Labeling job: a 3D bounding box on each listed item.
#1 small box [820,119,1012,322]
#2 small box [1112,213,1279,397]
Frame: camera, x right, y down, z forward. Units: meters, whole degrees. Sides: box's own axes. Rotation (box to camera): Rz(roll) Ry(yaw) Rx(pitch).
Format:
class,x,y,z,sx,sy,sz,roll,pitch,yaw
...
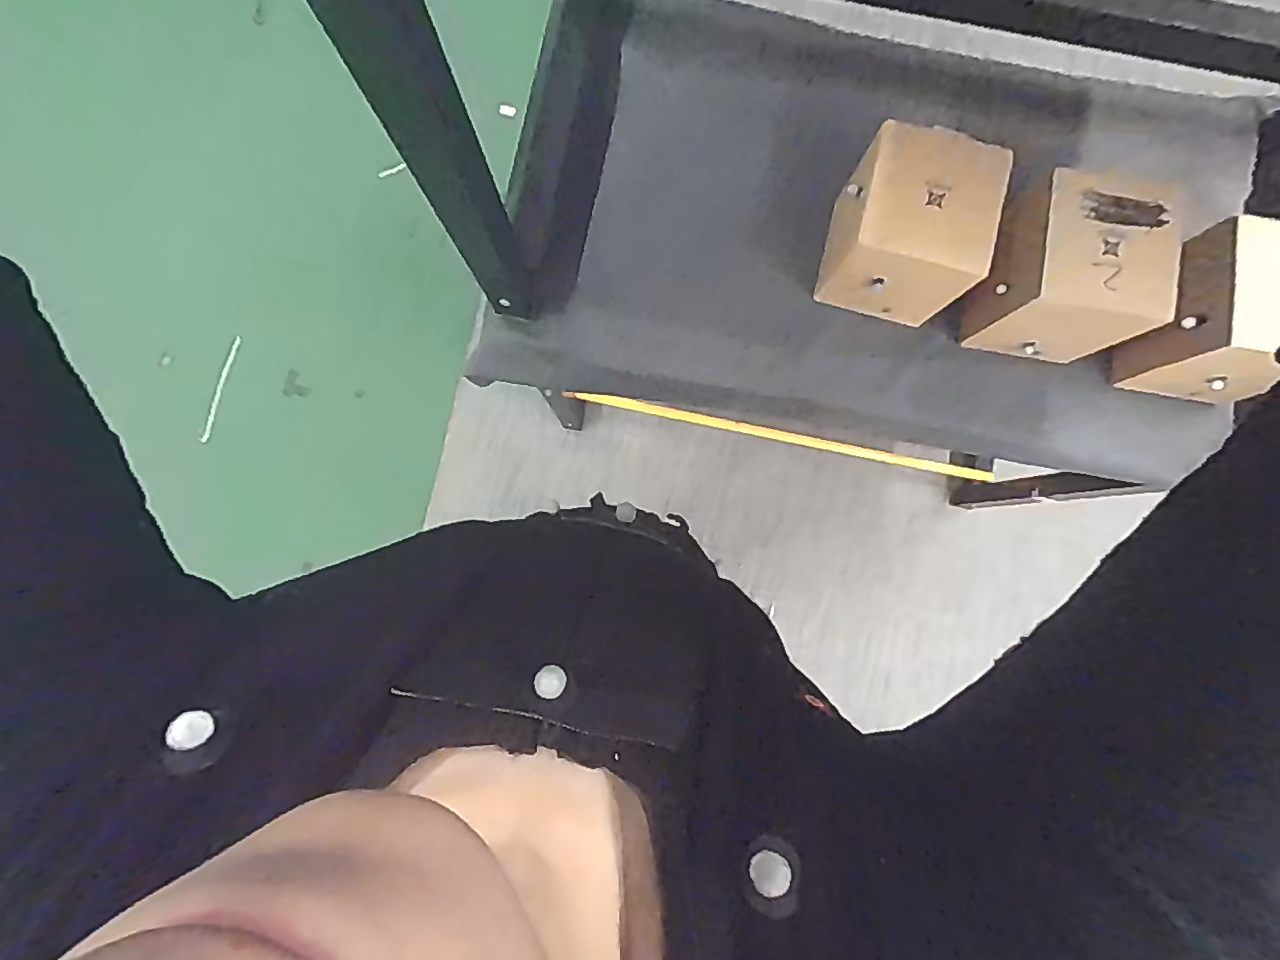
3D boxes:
class,x,y,z,sx,sy,sz,roll,pitch,yaw
small box,0.366,-0.344,0.750,0.168,0.176,0.179,15,84,1
small box,0.798,-0.224,0.739,0.168,0.176,0.179,9,83,0
